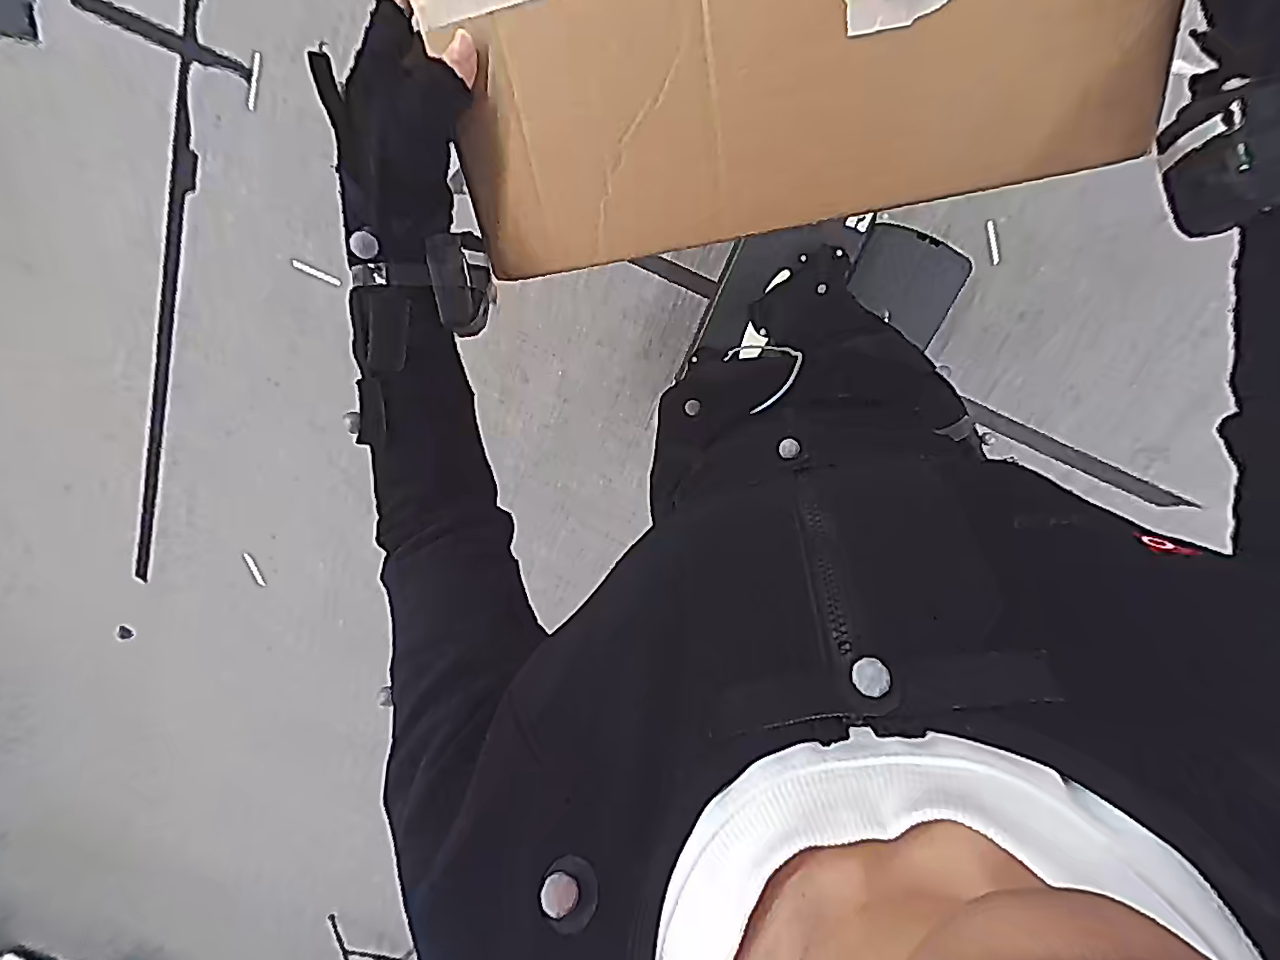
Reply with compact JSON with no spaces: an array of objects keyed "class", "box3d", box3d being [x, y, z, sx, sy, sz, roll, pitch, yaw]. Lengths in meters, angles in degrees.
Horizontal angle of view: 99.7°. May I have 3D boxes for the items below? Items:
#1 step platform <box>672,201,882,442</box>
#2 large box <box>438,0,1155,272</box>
[{"class":"step platform","box3d":[0.332,-0.444,1.405,0.286,0.204,0.684,23,107,0]},{"class":"large box","box3d":[0.086,-0.376,0.427,0.408,0.320,0.320,-6,116,11]}]
